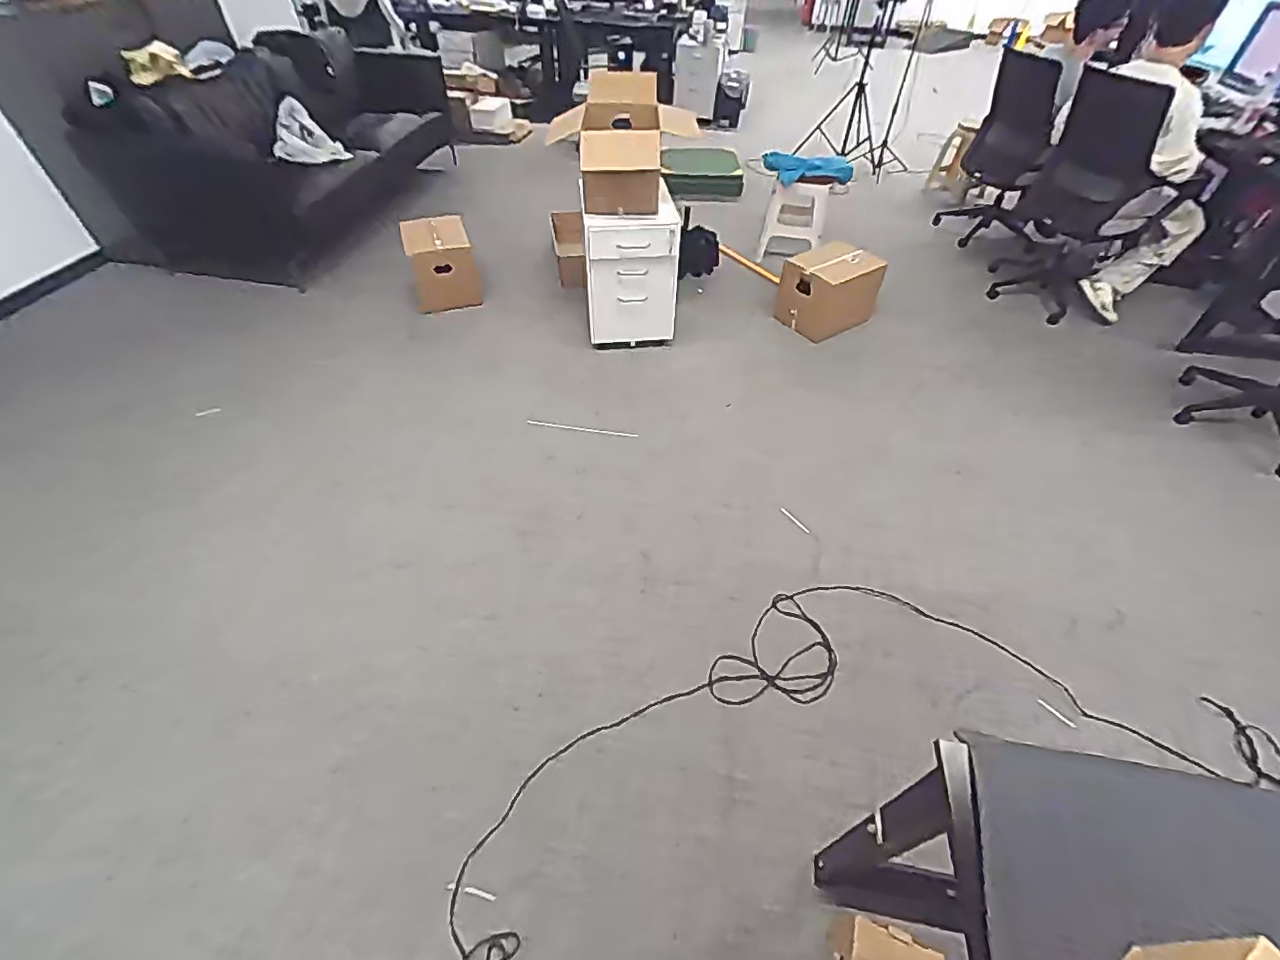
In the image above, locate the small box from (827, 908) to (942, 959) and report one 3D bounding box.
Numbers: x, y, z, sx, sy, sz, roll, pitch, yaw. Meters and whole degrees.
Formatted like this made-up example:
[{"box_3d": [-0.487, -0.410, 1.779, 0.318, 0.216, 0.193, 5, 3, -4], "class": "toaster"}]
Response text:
[{"box_3d": [0.455, 0.966, 1.031, 0.168, 0.176, 0.179, 17, 48, 15], "class": "small box"}]
